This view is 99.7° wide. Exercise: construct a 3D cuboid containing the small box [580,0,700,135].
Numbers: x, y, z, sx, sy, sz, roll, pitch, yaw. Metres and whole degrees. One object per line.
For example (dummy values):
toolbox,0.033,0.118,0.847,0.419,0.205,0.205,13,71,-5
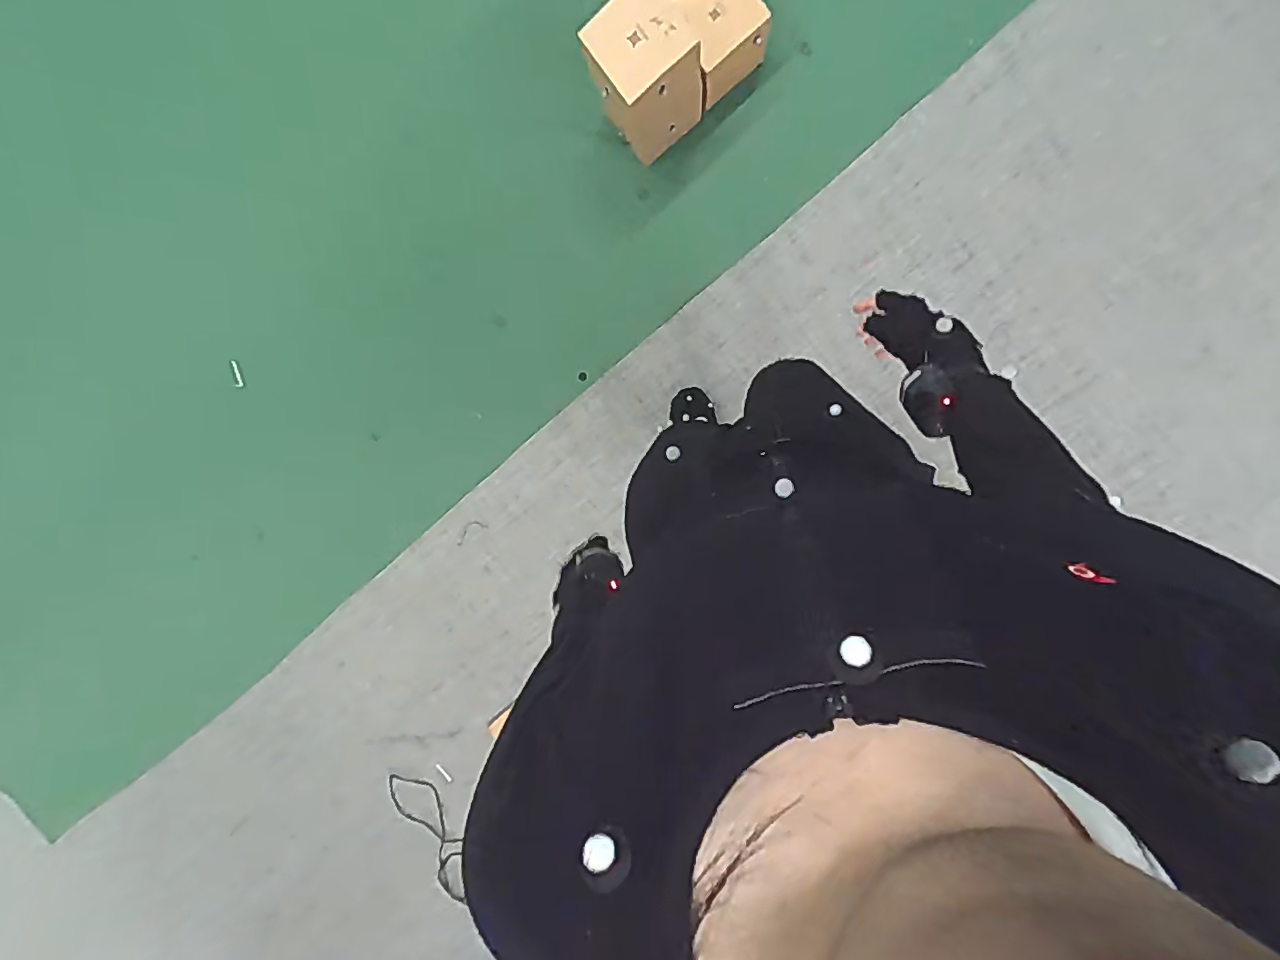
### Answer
small box,0.008,-0.853,1.097,0.179,0.176,0.168,-37,95,11
